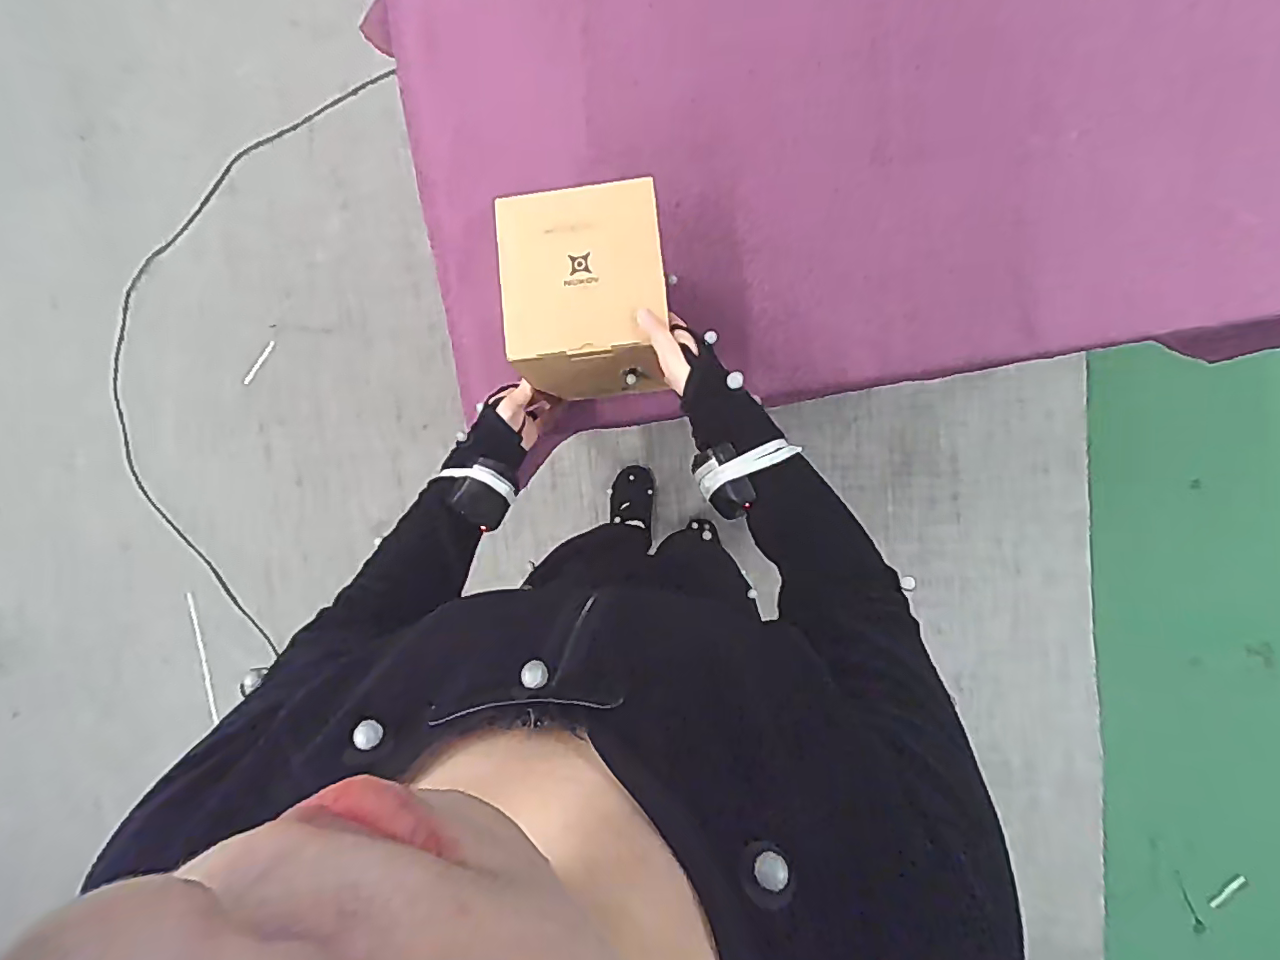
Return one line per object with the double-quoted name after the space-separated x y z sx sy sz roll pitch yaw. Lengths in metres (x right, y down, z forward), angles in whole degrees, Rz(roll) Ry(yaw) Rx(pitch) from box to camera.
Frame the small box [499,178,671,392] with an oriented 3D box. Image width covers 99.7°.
-0.053 -0.206 0.623 0.168 0.176 0.179 -6 83 3 "small box"
